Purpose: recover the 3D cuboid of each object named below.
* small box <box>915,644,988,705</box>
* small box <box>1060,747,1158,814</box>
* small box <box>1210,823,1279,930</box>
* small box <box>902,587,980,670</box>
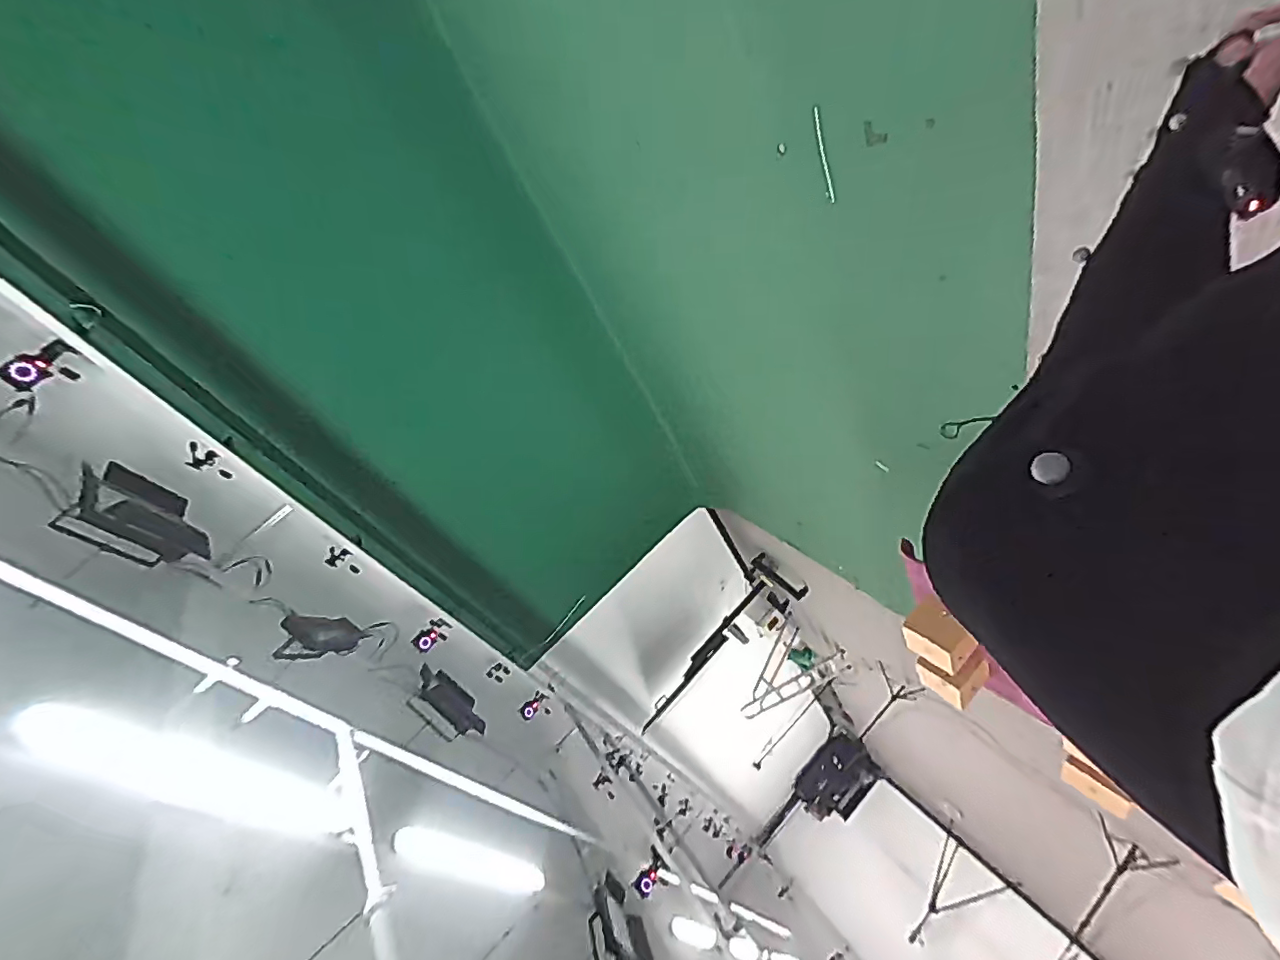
[{"bbox_3d":[1.142,0.676,1.974,0.168,0.176,0.179,32,161,49],"label":"small box"},{"bbox_3d":[1.408,0.854,1.627,0.168,0.176,0.179,33,161,48],"label":"small box"},{"bbox_3d":[1.622,1.014,1.373,0.168,0.176,0.179,36,163,47],"label":"small box"},{"bbox_3d":[1.012,0.494,1.809,0.168,0.176,0.179,32,162,47],"label":"small box"}]
